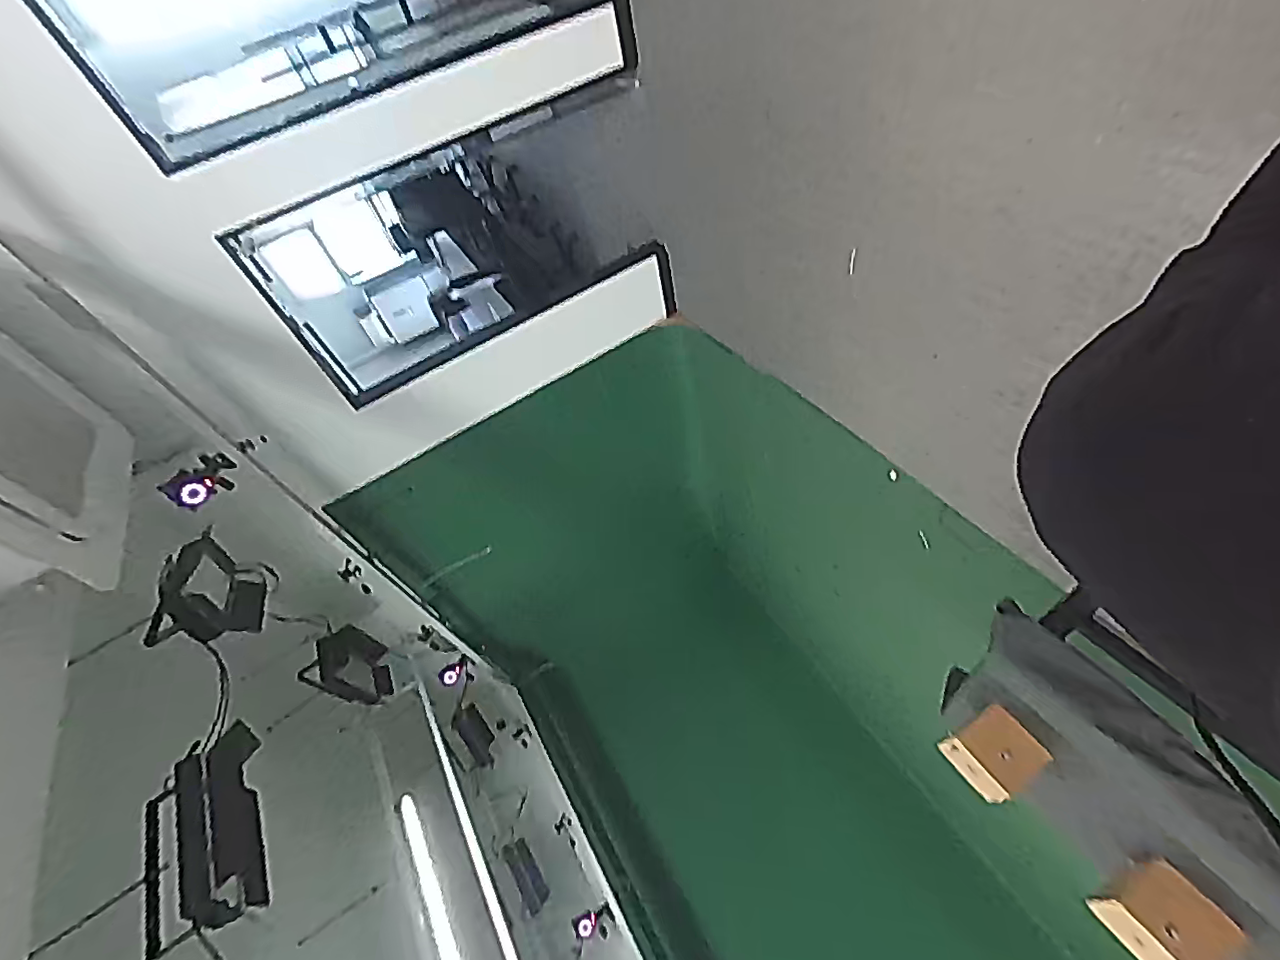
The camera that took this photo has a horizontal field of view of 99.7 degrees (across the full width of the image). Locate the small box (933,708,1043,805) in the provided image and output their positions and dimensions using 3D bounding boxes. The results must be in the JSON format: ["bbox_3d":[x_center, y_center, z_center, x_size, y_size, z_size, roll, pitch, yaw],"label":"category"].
[{"bbox_3d":[0.985,0.784,1.535,0.179,0.176,0.168,50,164,32],"label":"small box"}]

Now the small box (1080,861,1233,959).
[{"bbox_3d":[1.217,1.050,1.279,0.179,0.176,0.168,50,164,38],"label":"small box"}]
